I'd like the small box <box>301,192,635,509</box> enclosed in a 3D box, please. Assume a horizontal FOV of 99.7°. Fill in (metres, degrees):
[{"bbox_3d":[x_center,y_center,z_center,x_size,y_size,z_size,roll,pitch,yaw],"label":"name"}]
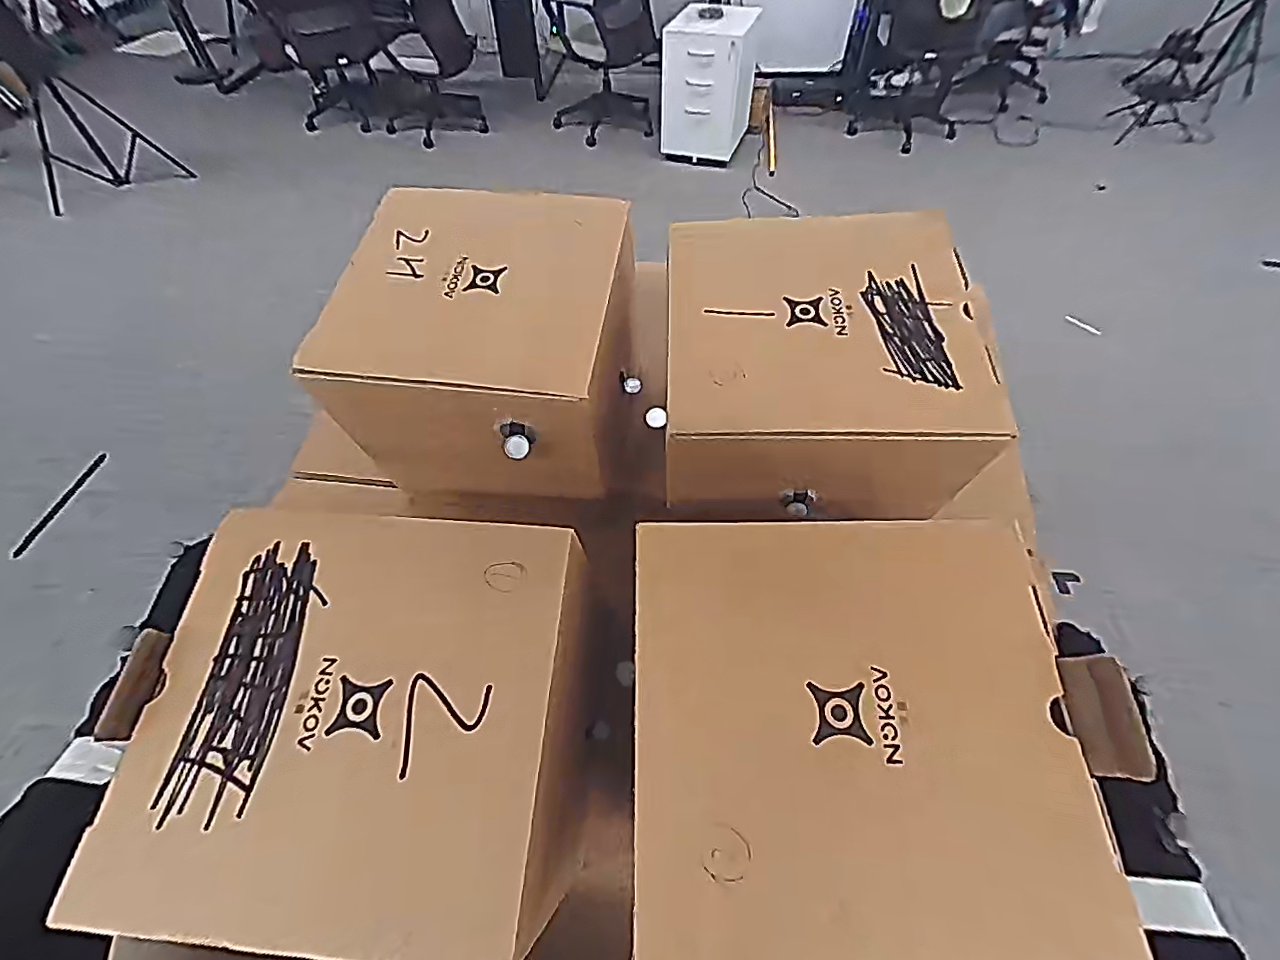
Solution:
[{"bbox_3d":[-0.102,-0.089,0.419,0.179,0.176,0.168,7,62,7],"label":"small box"}]
